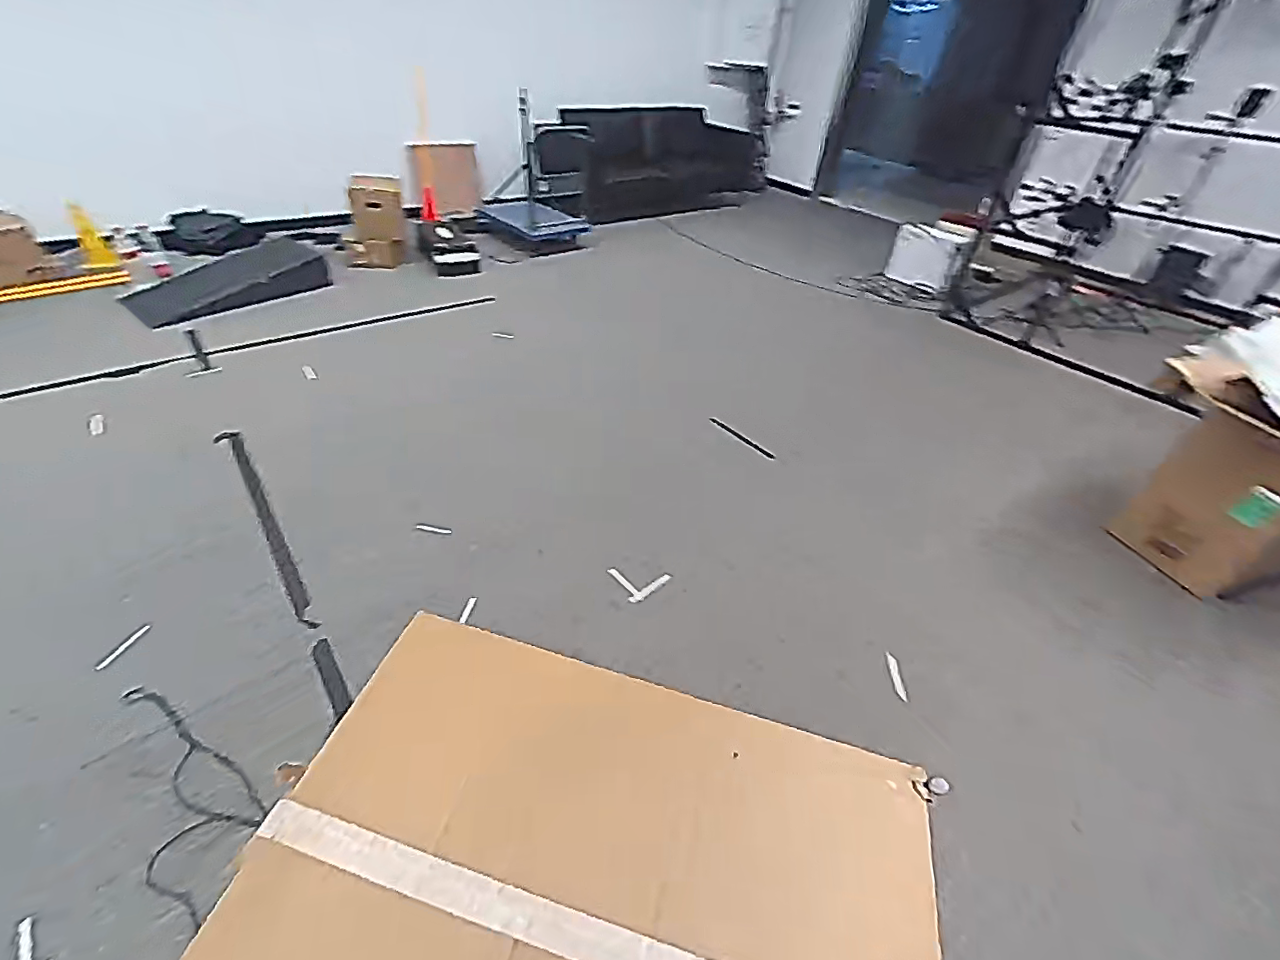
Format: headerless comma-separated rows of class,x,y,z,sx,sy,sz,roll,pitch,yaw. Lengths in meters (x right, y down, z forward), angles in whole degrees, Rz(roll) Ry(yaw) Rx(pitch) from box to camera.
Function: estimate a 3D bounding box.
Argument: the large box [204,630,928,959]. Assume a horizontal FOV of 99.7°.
large box,-0.046,0.374,0.419,0.408,0.320,0.320,14,46,7
